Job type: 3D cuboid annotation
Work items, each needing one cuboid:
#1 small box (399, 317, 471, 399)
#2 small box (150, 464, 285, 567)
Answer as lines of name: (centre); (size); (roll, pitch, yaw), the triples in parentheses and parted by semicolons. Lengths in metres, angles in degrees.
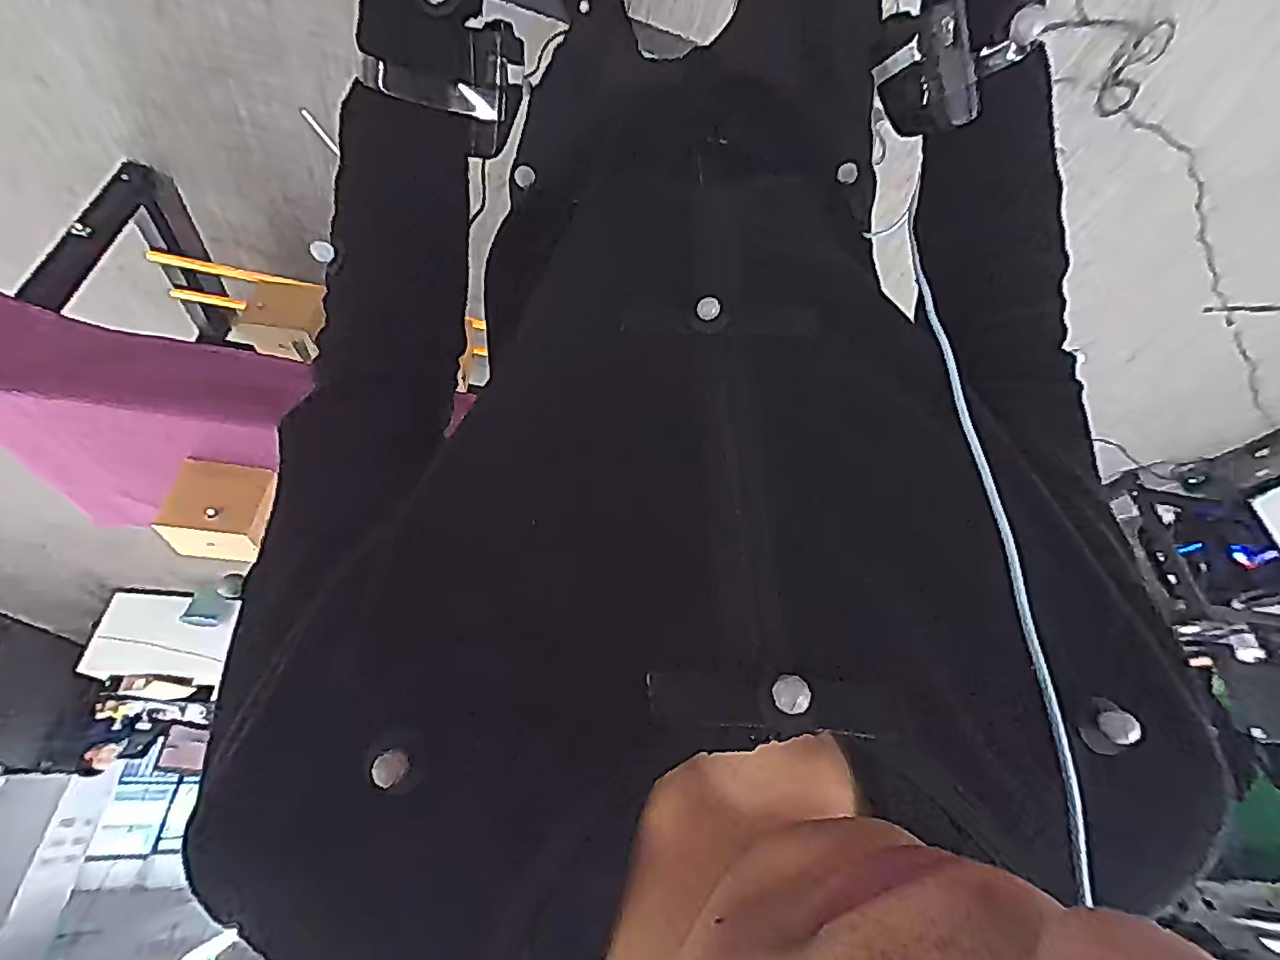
small box: (-0.621, -0.378, 1.664); (0.179, 0.176, 0.168); (9, 149, -11)
small box: (-0.947, 0.081, 1.231); (0.179, 0.176, 0.168); (9, 148, -17)
